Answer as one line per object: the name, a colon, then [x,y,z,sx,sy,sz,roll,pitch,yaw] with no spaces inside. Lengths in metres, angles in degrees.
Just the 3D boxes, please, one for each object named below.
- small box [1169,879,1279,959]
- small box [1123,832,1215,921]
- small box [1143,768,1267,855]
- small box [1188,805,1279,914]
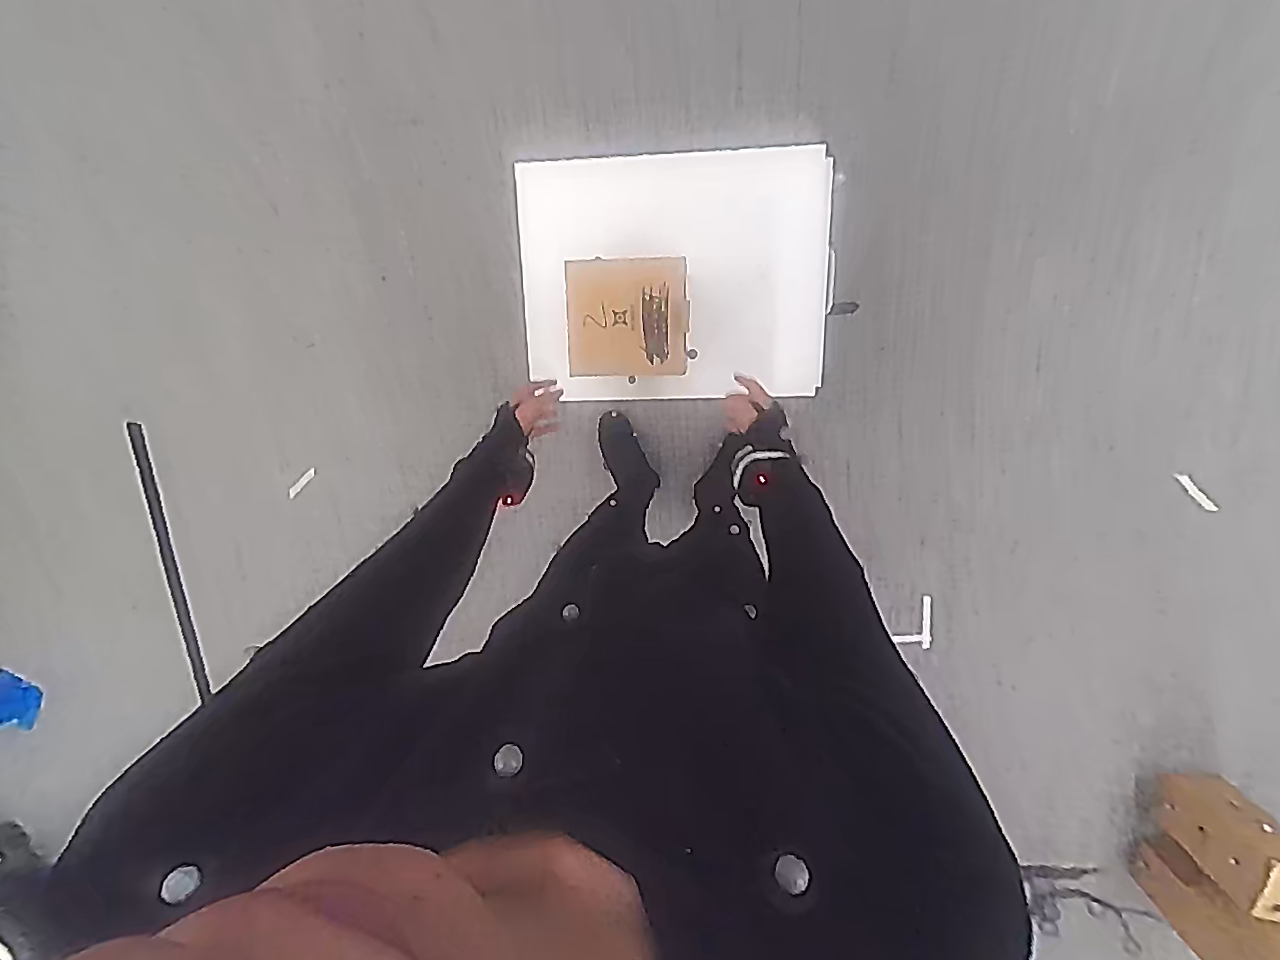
small box: [1.676,1.282,1.541,0.168,0.176,0.179,0,103,4]
small box: [1.688,1.244,1.698,0.179,0.176,0.168,-1,103,5]
small box: [1.700,1.005,1.638,0.179,0.176,0.168,4,103,4]
small box: [1.674,1.037,1.478,0.168,0.176,0.179,7,103,2]
